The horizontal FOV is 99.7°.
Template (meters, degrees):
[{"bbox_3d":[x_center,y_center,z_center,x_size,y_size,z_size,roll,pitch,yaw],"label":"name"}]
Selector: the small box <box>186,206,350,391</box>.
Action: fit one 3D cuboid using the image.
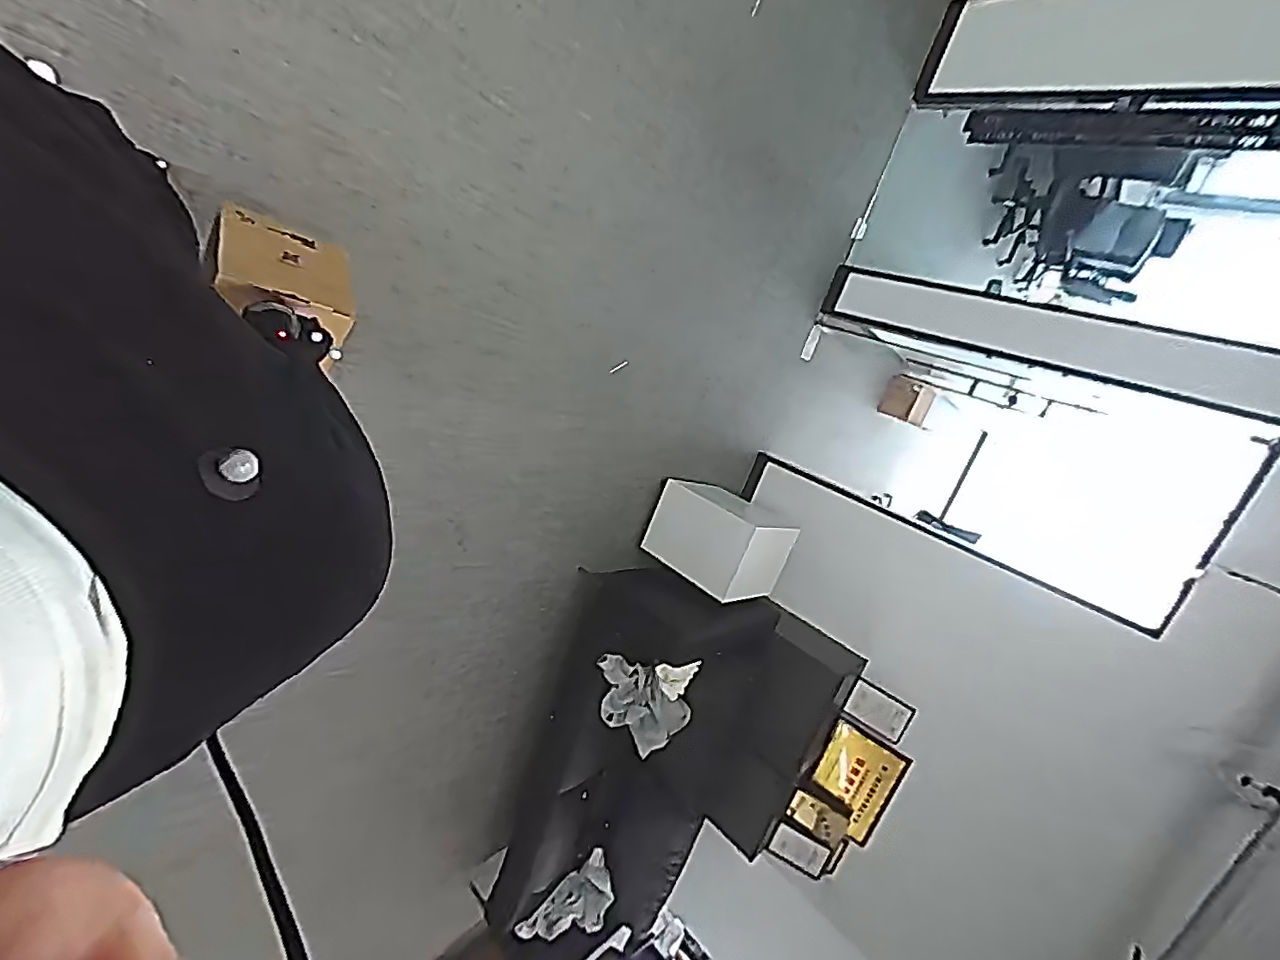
[{"bbox_3d":[-0.562,-0.261,0.814,0.168,0.179,0.176,8,137,-47],"label":"small box"}]
